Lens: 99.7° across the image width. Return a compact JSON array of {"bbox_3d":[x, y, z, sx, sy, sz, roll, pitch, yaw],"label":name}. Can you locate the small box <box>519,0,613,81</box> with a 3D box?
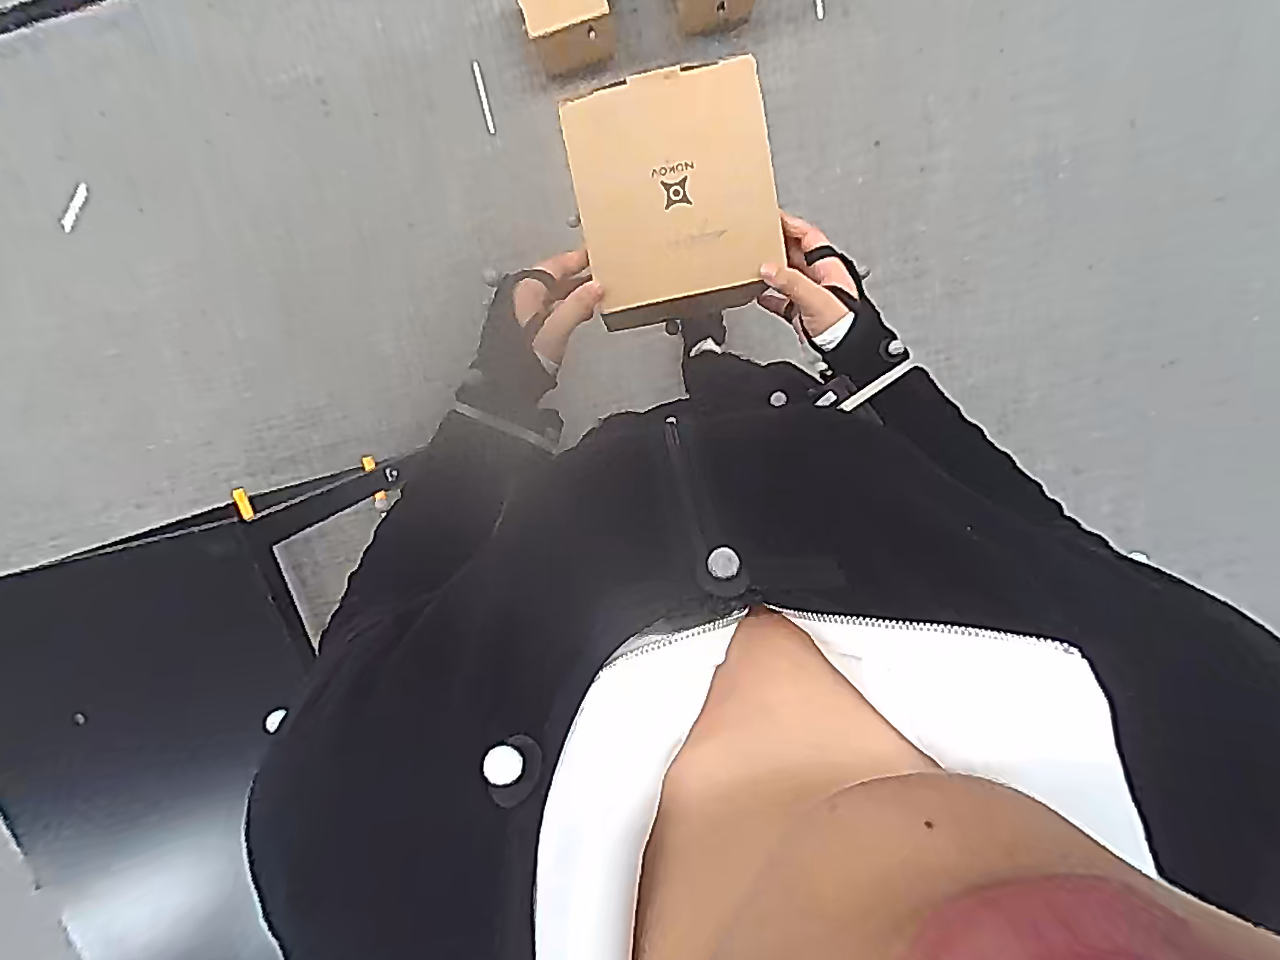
[{"bbox_3d":[-0.161,-1.017,1.173,0.179,0.176,0.168,-15,102,5],"label":"small box"}]

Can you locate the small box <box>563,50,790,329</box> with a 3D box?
[{"bbox_3d":[0.030,-0.258,0.524,0.168,0.176,0.179,-12,100,1],"label":"small box"}]

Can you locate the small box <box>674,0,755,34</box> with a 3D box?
[{"bbox_3d":[0.157,-1.096,1.149,0.168,0.176,0.179,-11,103,4],"label":"small box"}]
